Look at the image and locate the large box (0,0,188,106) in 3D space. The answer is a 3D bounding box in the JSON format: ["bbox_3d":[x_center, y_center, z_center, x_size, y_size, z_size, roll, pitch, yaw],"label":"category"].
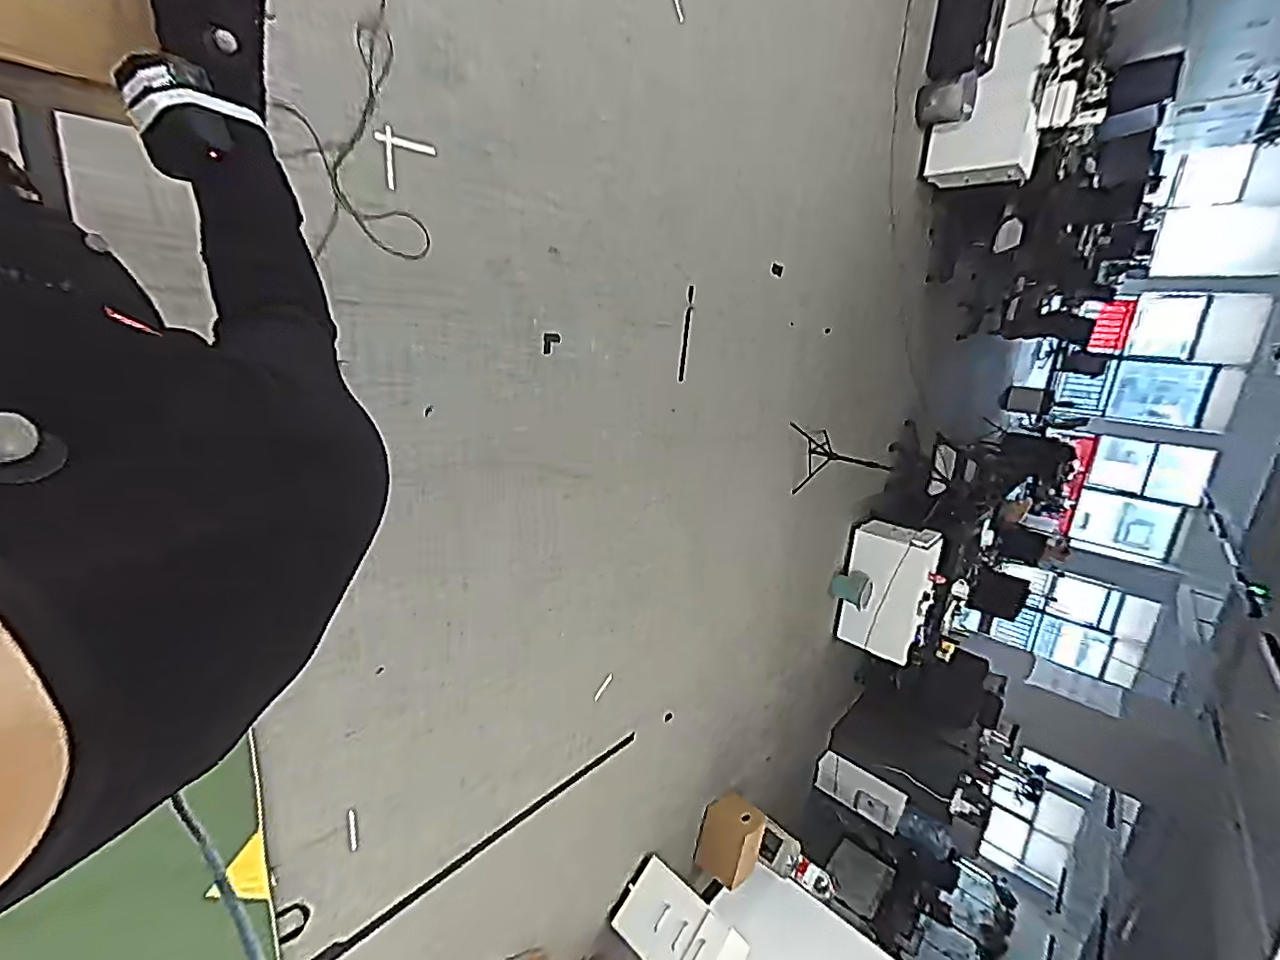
[{"bbox_3d":[-0.593,-0.475,0.334,0.408,0.320,0.320,-16,123,-46],"label":"large box"}]
